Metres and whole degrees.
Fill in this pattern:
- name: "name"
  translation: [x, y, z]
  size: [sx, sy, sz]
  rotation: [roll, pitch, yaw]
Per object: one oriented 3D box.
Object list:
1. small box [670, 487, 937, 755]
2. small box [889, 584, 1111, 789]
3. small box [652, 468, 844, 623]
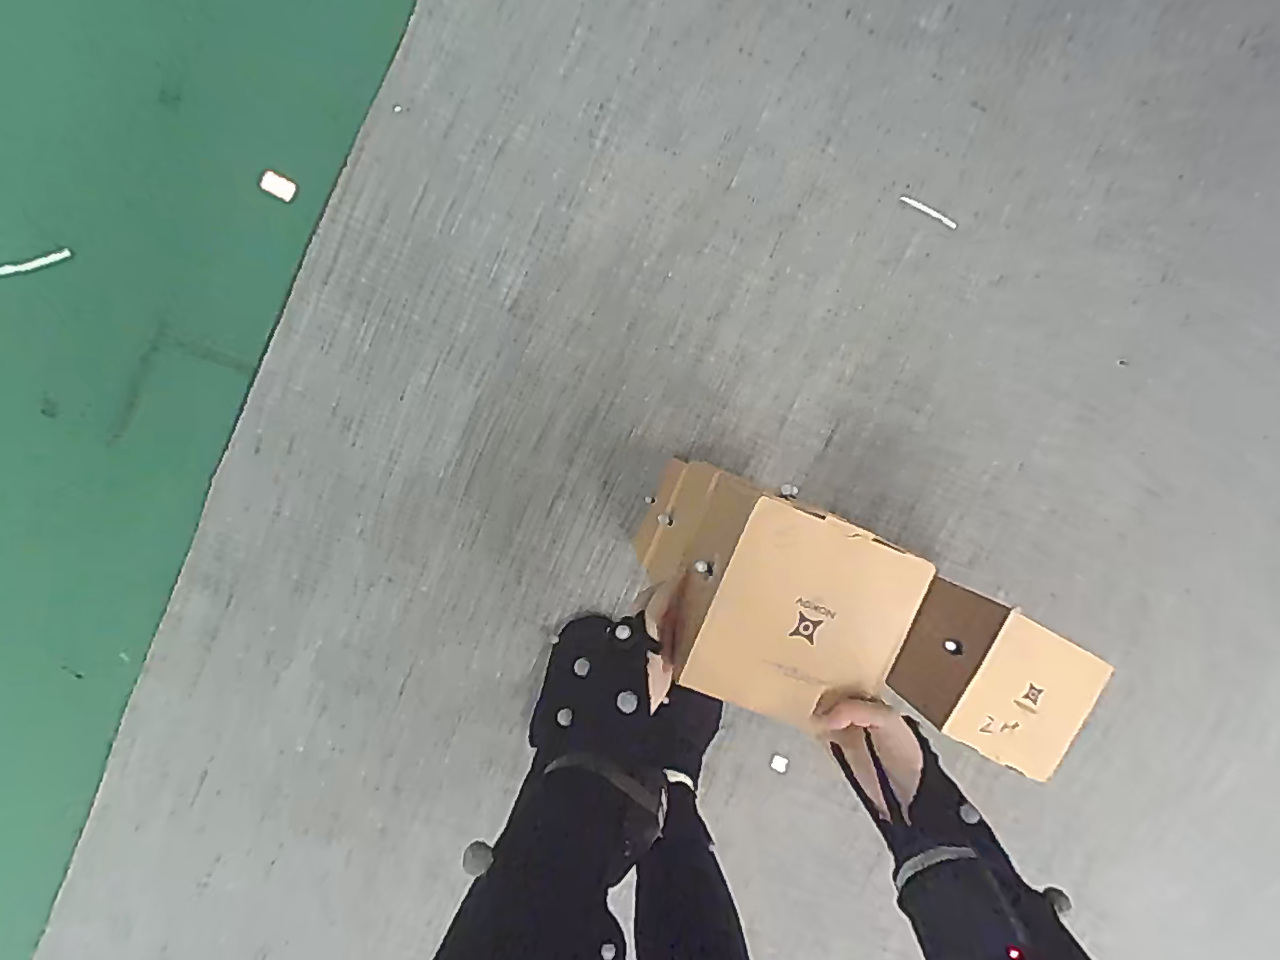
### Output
- name: "small box"
  translation: [0.136, 0.118, 0.526]
  size: [0.168, 0.176, 0.179]
  rotation: [22, 95, -5]
- name: "small box"
  translation: [0.466, 0.266, 0.740]
  size: [0.168, 0.176, 0.179]
  rotation: [28, 92, -7]
- name: "small box"
  translation: [0.121, 0.097, 0.687]
  size: [0.168, 0.176, 0.179]
  rotation: [21, 94, -7]
